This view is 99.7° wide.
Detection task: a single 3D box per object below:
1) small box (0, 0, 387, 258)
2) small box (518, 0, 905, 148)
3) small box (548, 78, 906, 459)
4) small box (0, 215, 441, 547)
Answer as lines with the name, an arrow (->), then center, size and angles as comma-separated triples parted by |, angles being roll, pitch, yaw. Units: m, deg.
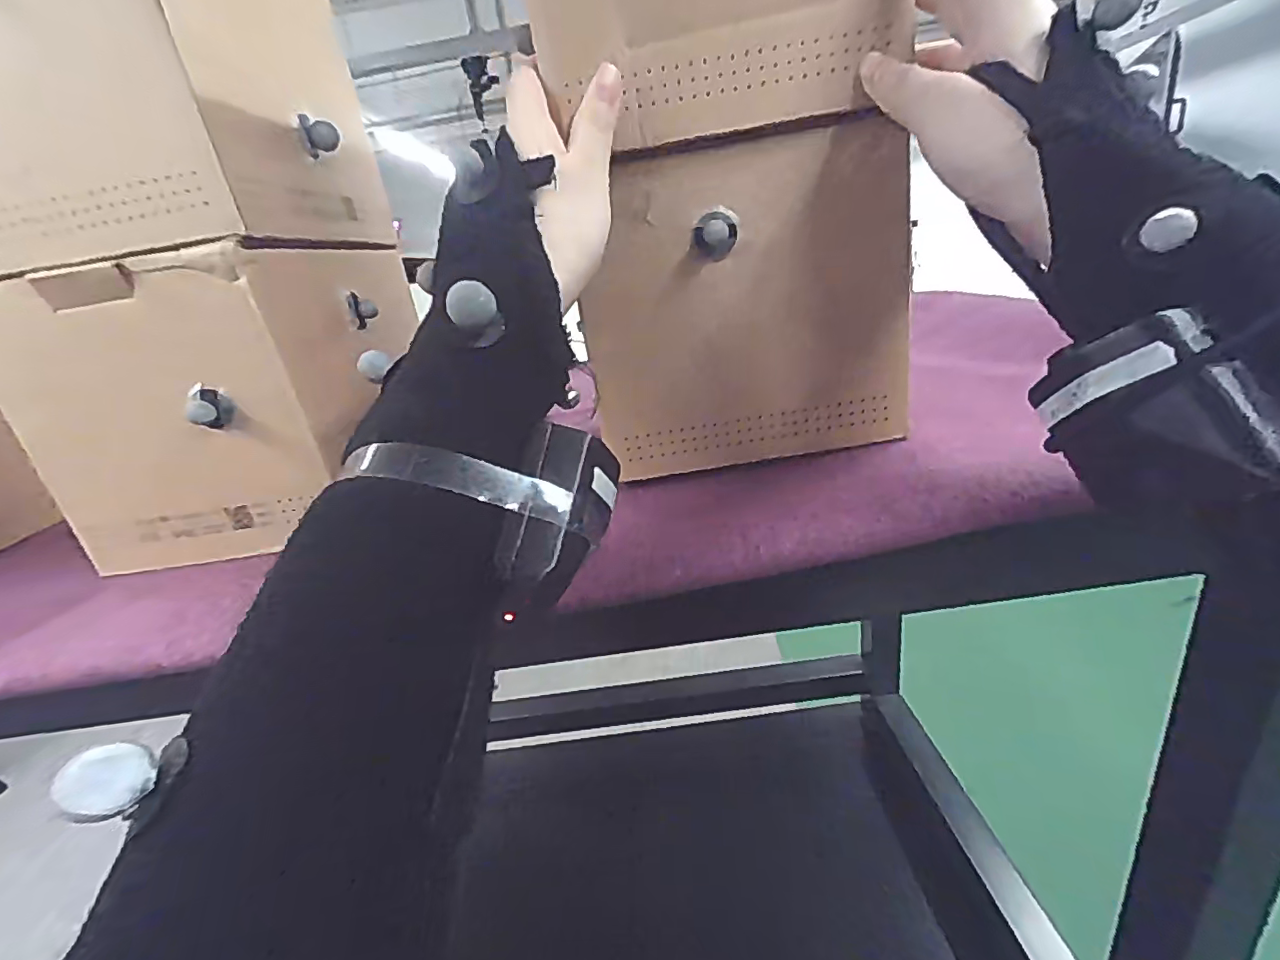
small box -> -0.280, -0.216, 0.301 | 0.179, 0.176, 0.168 | -7, 22, 4
small box -> 0.025, -0.268, 0.297 | 0.179, 0.176, 0.168 | -9, 19, 1
small box -> 0.054, -0.119, 0.353 | 0.179, 0.176, 0.168 | -9, 19, 2
small box -> -0.254, -0.064, 0.360 | 0.168, 0.176, 0.179 | -7, 21, 4
